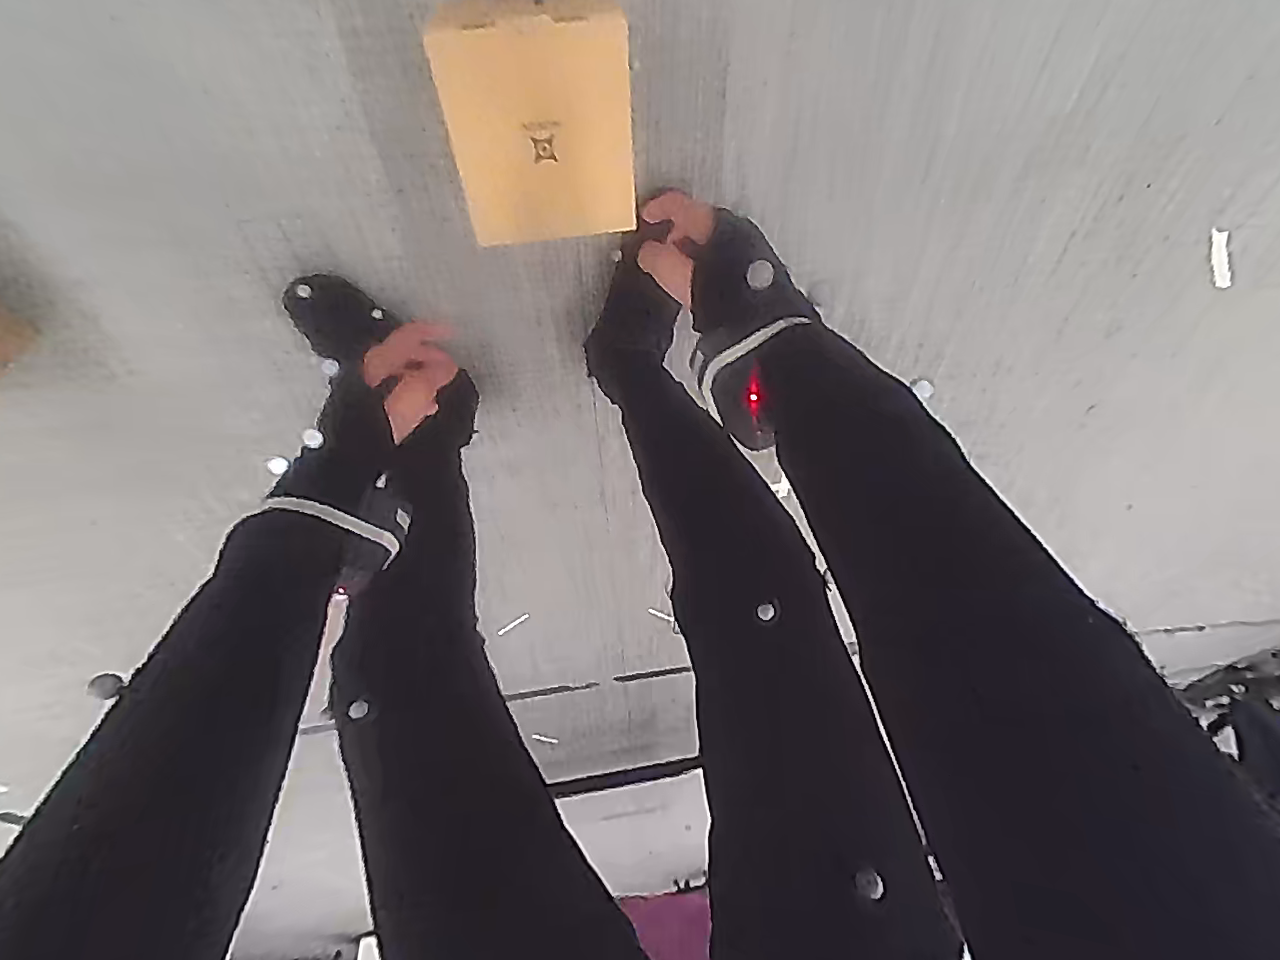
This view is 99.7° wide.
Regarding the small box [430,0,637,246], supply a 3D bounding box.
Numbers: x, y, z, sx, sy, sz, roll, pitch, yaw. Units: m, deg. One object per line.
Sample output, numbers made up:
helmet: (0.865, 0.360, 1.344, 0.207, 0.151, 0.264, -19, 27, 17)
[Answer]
small box: (-0.095, -0.366, 0.552, 0.168, 0.176, 0.179, -8, 136, -4)
